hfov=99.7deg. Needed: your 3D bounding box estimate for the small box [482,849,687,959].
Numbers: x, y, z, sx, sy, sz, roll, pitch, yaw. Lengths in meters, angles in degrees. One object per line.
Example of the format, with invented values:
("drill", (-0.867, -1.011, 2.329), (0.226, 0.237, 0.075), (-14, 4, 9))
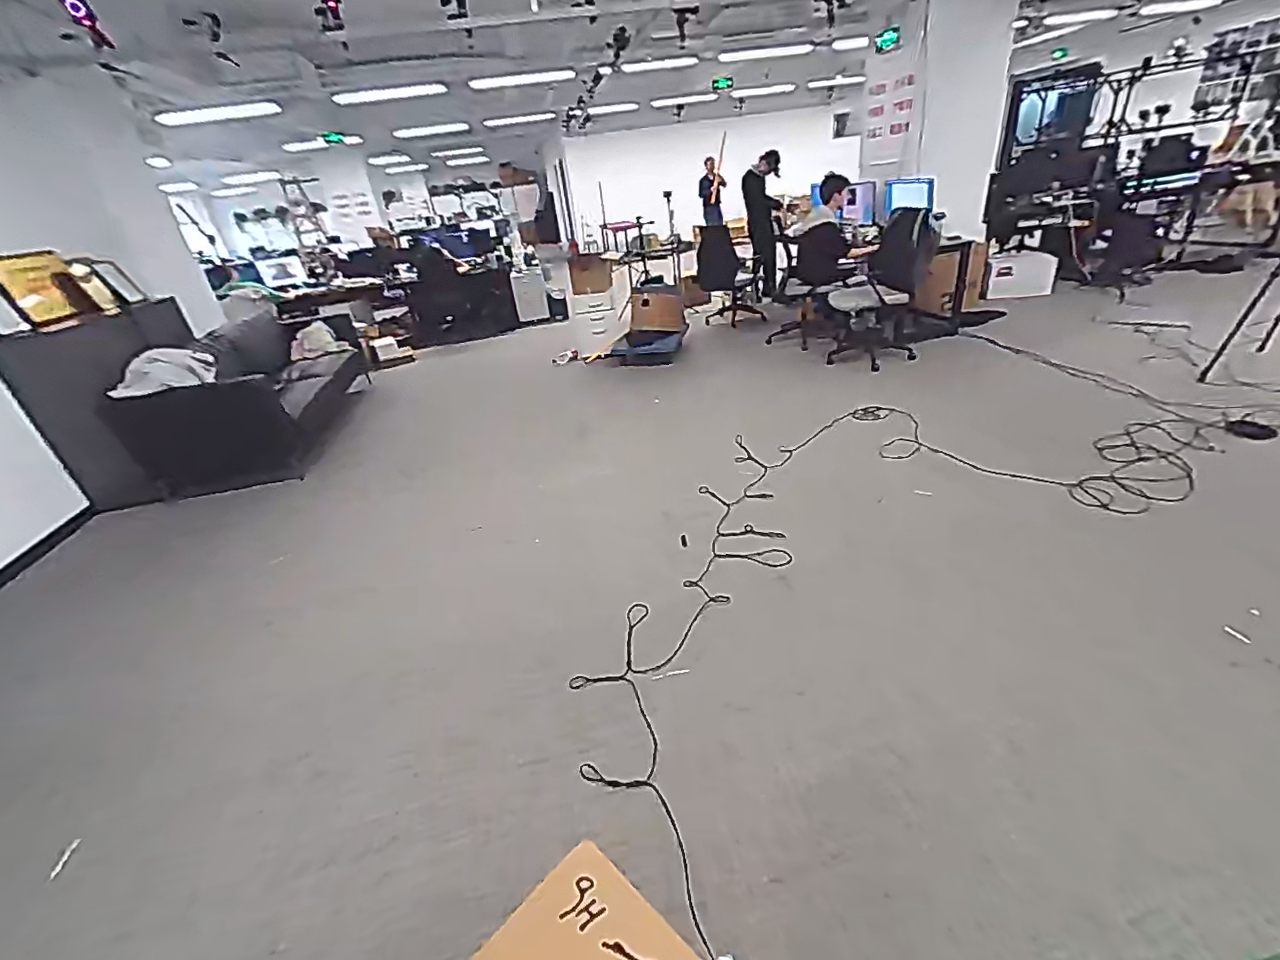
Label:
("small box", (-0.022, 0.362, 0.284), (0.168, 0.176, 0.179), (18, 42, 42))
